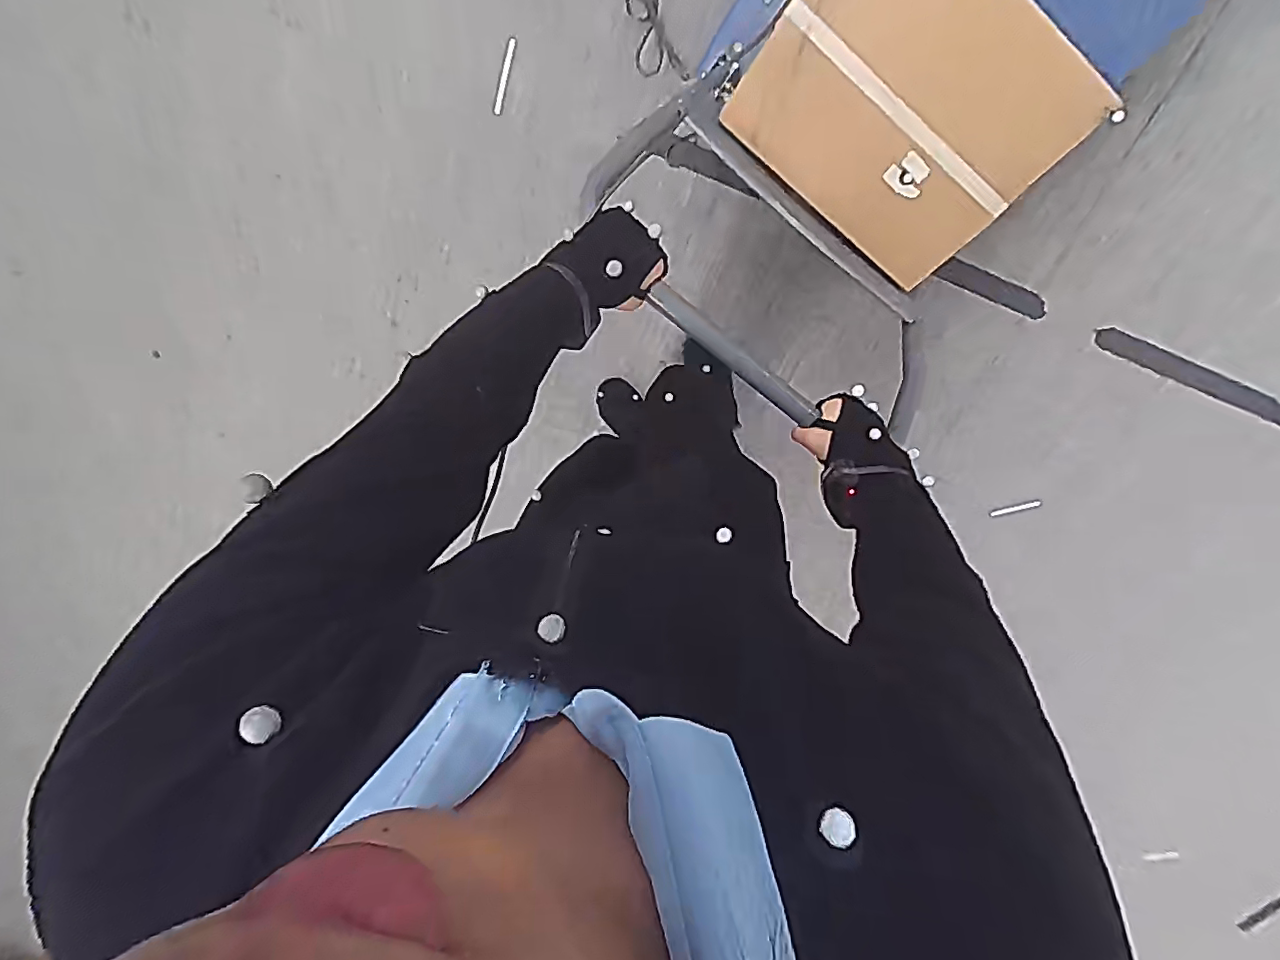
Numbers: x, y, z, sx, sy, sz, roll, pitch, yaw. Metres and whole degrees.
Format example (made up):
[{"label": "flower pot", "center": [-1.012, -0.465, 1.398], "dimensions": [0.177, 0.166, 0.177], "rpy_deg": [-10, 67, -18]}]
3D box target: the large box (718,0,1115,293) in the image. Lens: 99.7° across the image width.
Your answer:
[{"label": "large box", "center": [0.389, -0.583, 0.837], "dimensions": [0.408, 0.320, 0.320], "rpy_deg": [35, 134, -11]}]
